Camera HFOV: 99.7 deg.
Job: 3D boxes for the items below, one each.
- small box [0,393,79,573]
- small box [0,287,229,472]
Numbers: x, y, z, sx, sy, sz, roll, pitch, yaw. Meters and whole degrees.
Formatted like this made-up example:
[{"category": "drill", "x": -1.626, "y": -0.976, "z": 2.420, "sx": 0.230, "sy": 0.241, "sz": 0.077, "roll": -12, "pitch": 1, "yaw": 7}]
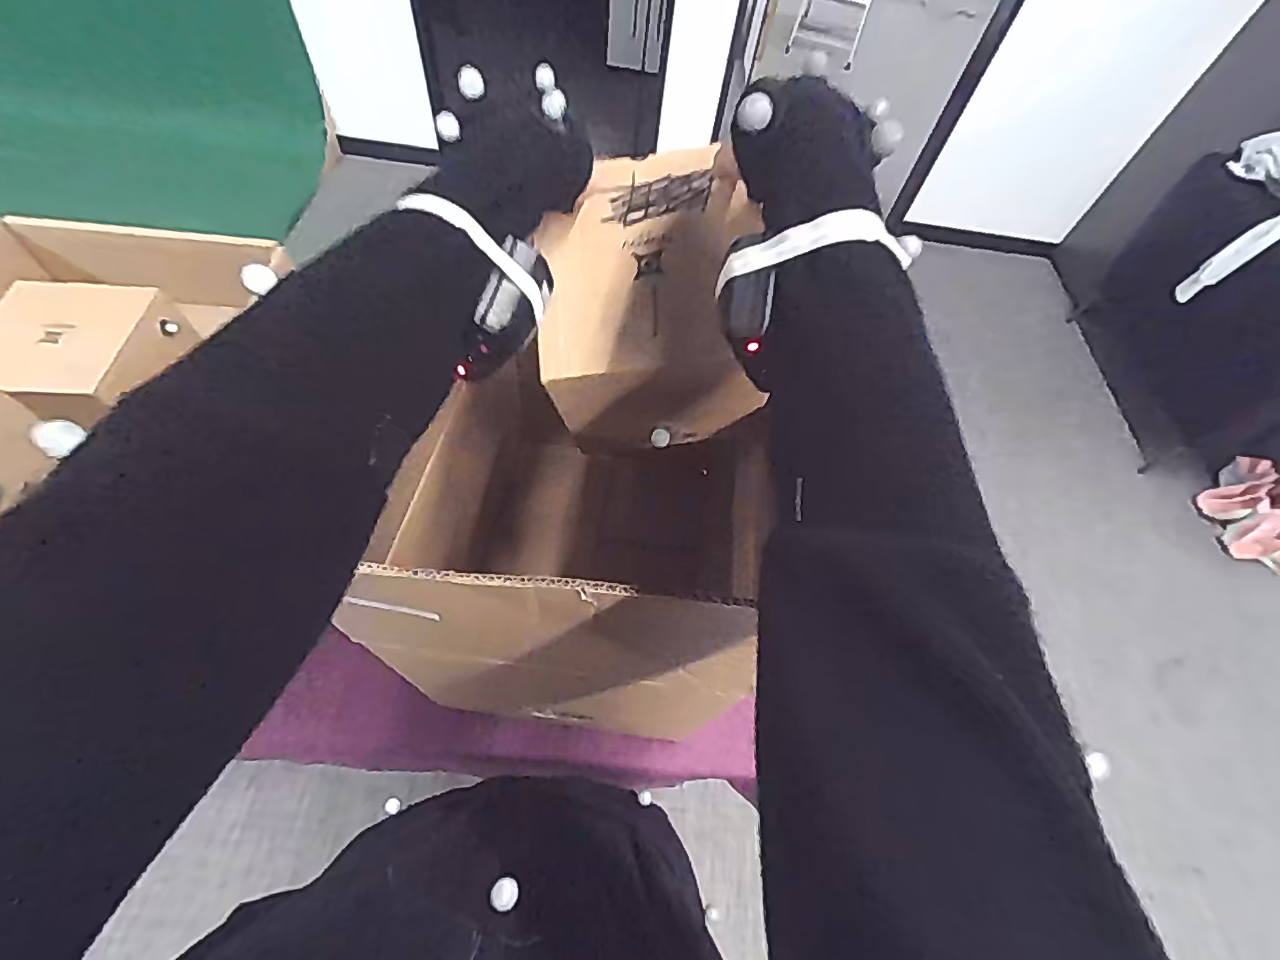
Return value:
[{"category": "small box", "x": -0.648, "y": -0.008, "z": 0.438, "sx": 0.179, "sy": 0.176, "sz": 0.168, "roll": 4, "pitch": 58, "yaw": -4}, {"category": "small box", "x": -0.686, "y": -0.123, "z": 0.703, "sx": 0.168, "sy": 0.176, "sz": 0.179, "roll": 1, "pitch": 58, "yaw": -5}]
